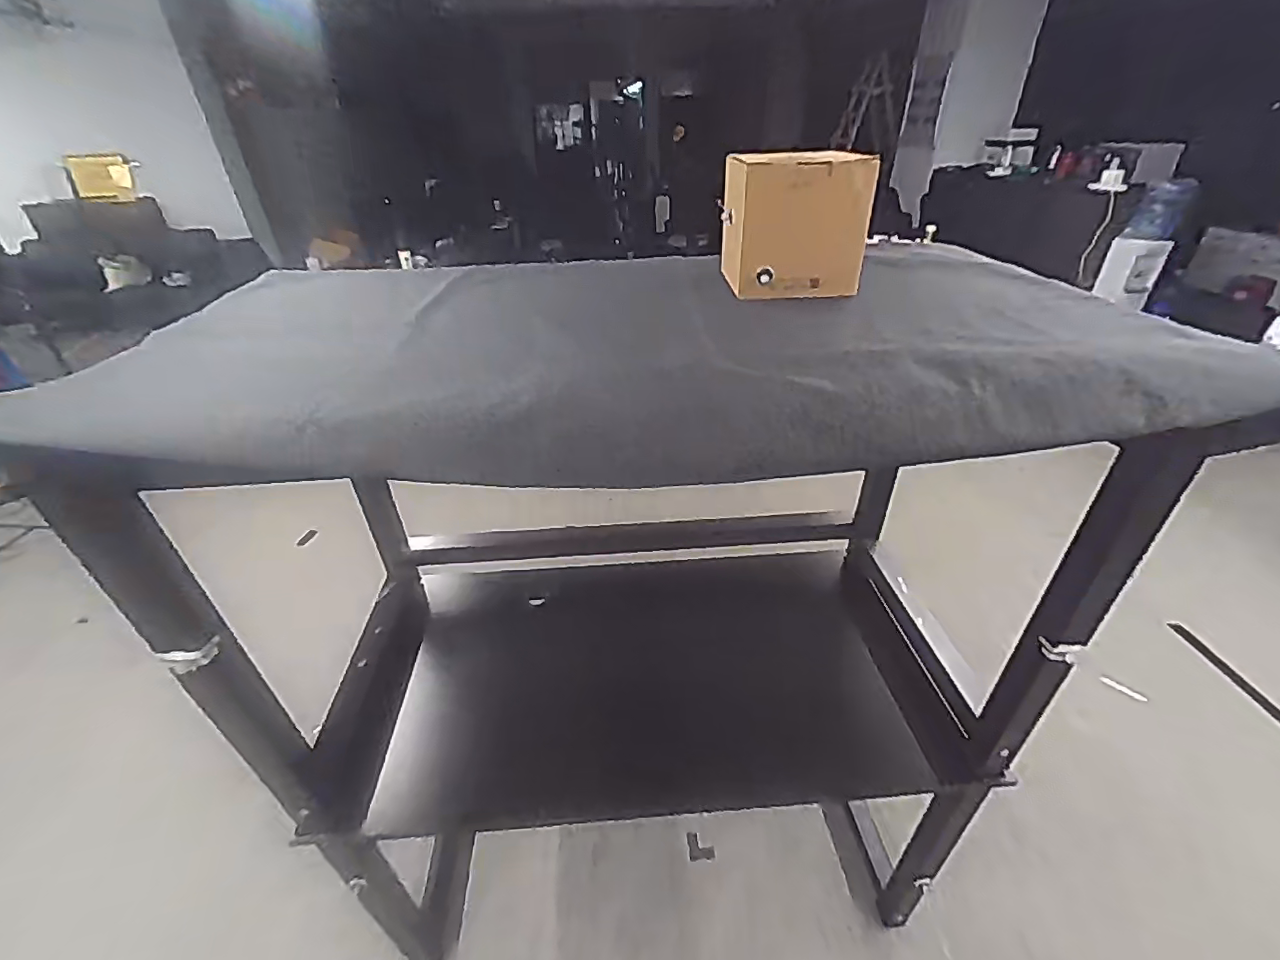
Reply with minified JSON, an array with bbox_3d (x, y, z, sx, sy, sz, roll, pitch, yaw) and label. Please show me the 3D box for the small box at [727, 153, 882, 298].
[{"bbox_3d":[0.221,-0.364,0.775,0.168,0.176,0.179,-1,33,0],"label":"small box"}]
